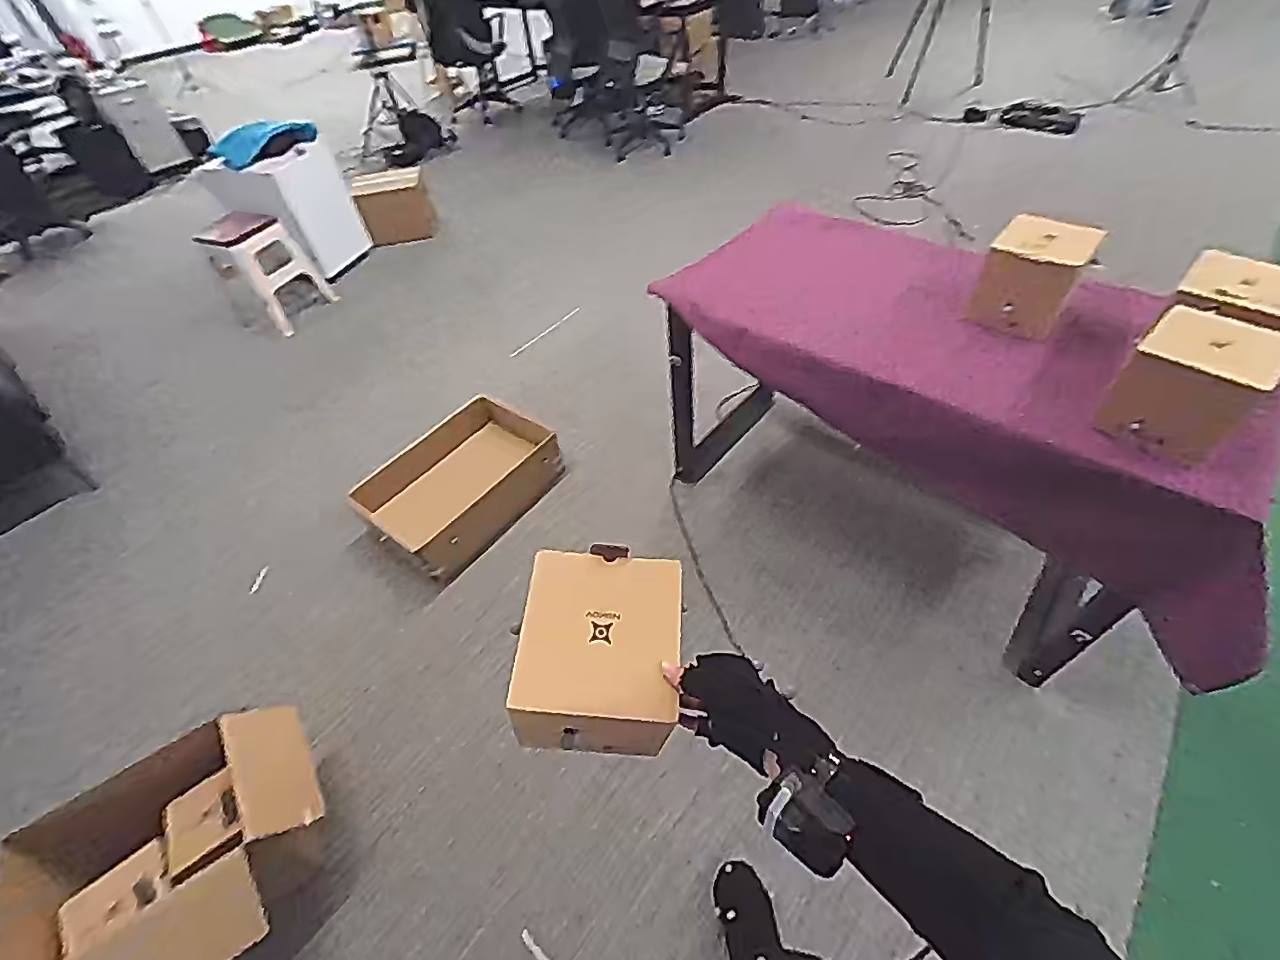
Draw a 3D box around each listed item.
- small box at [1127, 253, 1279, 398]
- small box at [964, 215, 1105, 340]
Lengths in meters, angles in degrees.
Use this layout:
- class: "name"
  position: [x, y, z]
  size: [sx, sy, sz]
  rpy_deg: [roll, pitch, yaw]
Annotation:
- class: "small box"
  position: [1.060, -0.285, 0.998]
  size: [0.179, 0.176, 0.168]
  rpy_deg: [-37, 55, -24]
- class: "small box"
  position: [0.826, -0.430, 1.148]
  size: [0.168, 0.176, 0.179]
  rpy_deg: [32, 60, 29]
